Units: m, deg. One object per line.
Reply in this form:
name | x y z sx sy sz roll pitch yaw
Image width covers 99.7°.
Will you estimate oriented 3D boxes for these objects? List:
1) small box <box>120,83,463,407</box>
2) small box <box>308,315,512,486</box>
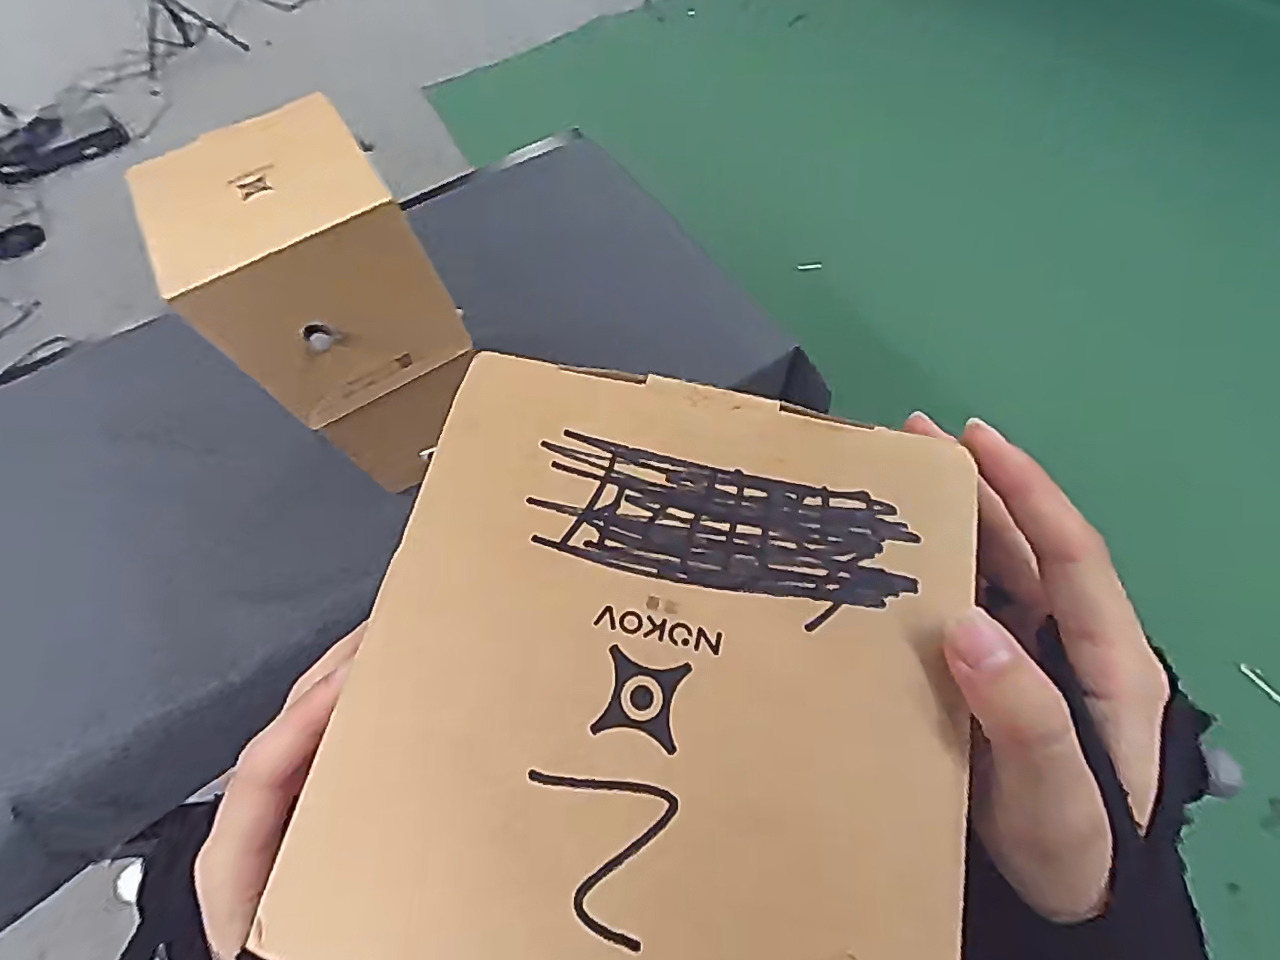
small box | -0.281 -0.187 0.469 0.168 0.176 0.179 -32 65 -10
small box | -0.271 -0.125 0.619 0.168 0.176 0.179 -31 67 -10
